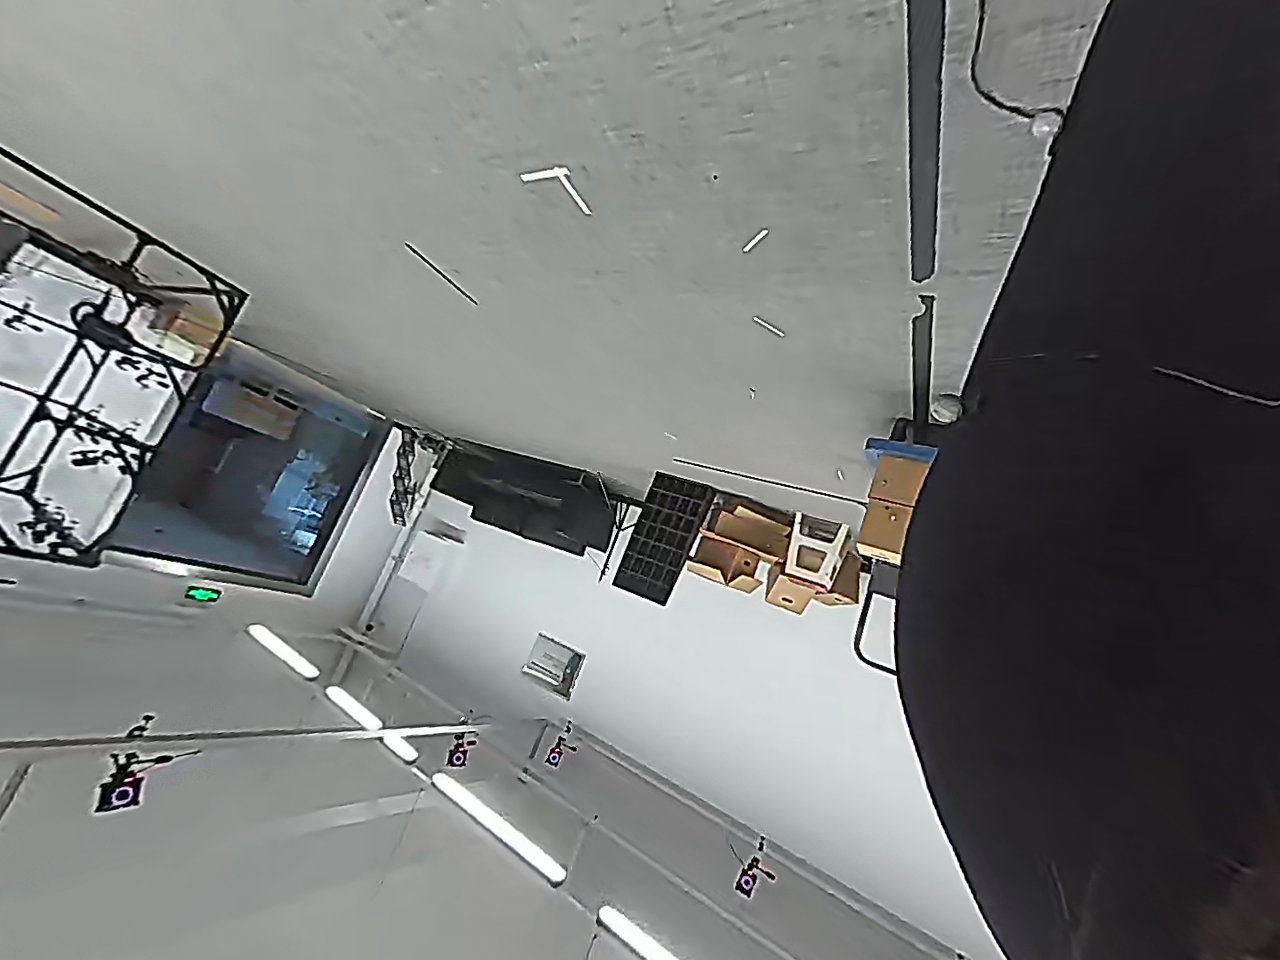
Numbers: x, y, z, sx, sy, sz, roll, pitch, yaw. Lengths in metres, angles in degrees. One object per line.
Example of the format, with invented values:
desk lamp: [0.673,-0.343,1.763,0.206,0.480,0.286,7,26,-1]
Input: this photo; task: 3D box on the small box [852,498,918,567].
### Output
small box: [0.843,0.180,1.856,0.168,0.176,0.179,16,168,30]
